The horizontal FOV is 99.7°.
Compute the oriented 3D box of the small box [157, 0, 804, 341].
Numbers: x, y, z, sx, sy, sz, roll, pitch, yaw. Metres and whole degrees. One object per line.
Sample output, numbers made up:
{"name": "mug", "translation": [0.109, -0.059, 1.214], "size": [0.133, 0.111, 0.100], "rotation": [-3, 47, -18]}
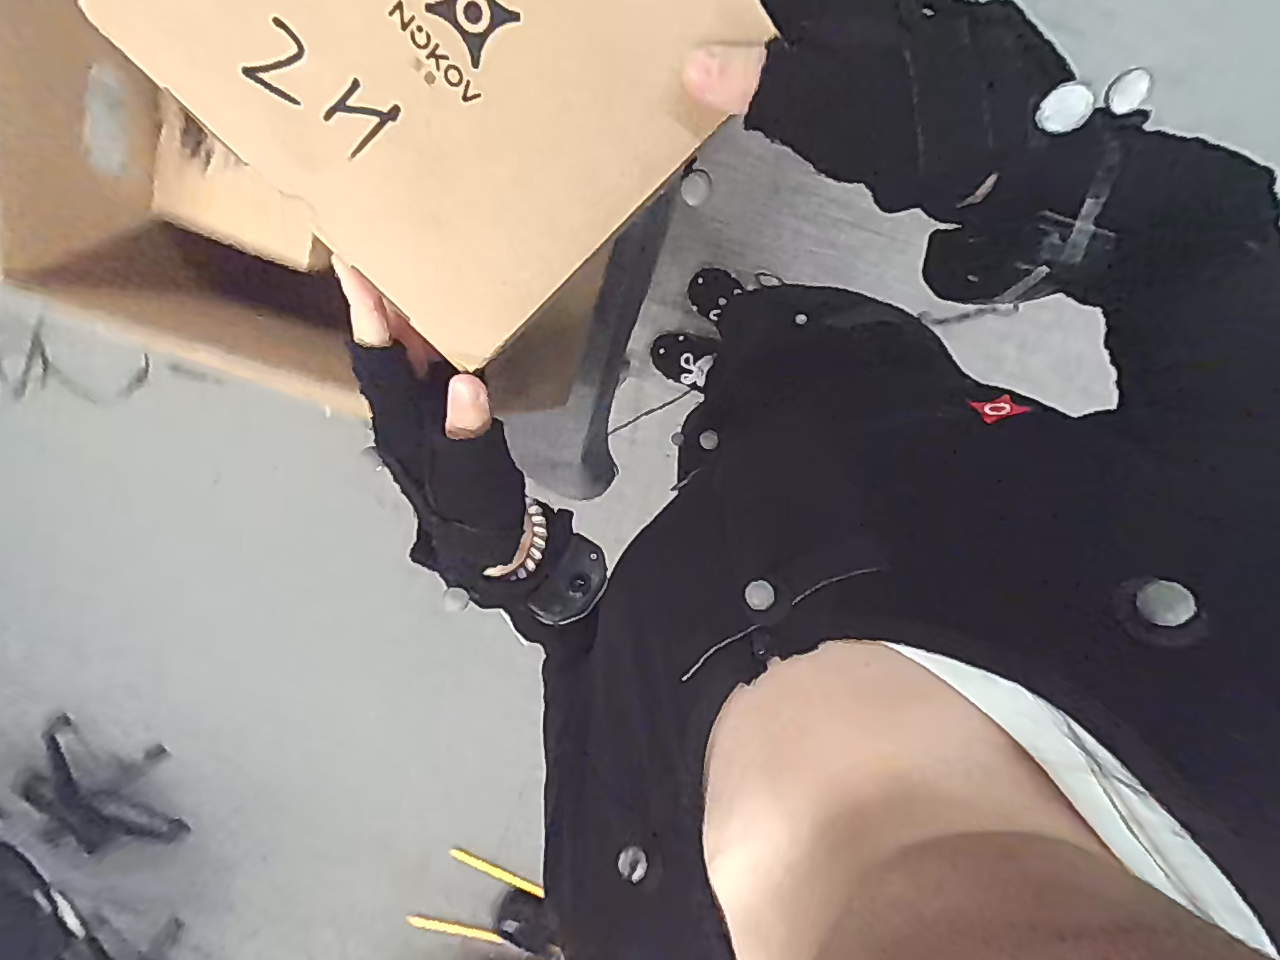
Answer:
{"name": "small box", "translation": [-0.062, -0.196, 0.261], "size": [0.179, 0.176, 0.168], "rotation": [-39, 110, 9]}
